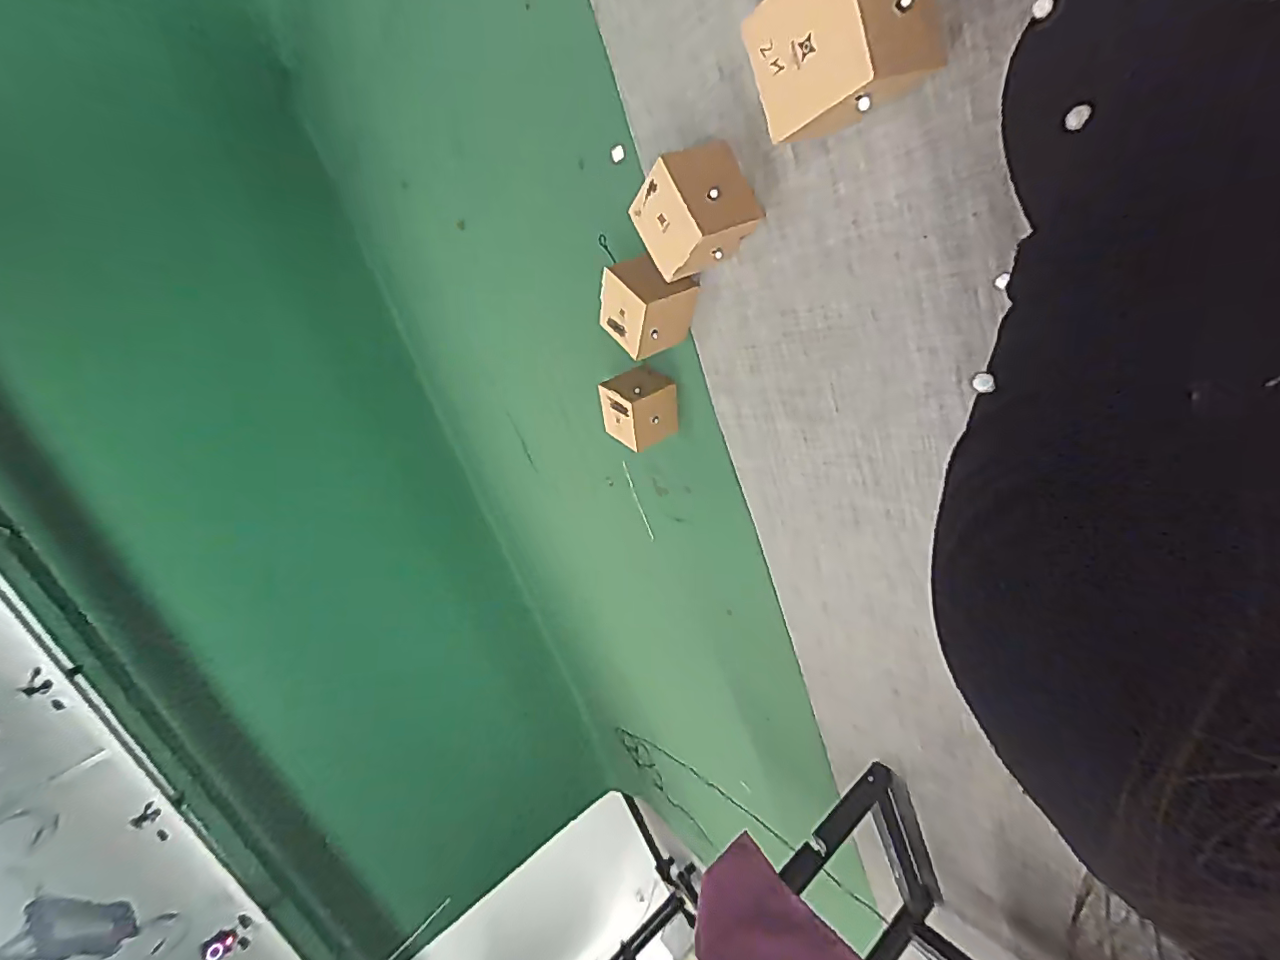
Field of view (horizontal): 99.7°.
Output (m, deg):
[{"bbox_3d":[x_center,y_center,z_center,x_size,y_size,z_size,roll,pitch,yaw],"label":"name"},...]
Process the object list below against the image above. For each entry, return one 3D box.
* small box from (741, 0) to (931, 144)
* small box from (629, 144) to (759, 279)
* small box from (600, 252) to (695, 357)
[{"bbox_3d":[0.279,-0.610,0.758,0.179,0.176,0.168,6,120,59],"label":"small box"},{"bbox_3d":[0.112,-0.553,1.114,0.179,0.176,0.168,61,154,-1],"label":"small box"},{"bbox_3d":[0.018,-0.453,1.381,0.168,0.176,0.179,49,151,23],"label":"small box"}]
